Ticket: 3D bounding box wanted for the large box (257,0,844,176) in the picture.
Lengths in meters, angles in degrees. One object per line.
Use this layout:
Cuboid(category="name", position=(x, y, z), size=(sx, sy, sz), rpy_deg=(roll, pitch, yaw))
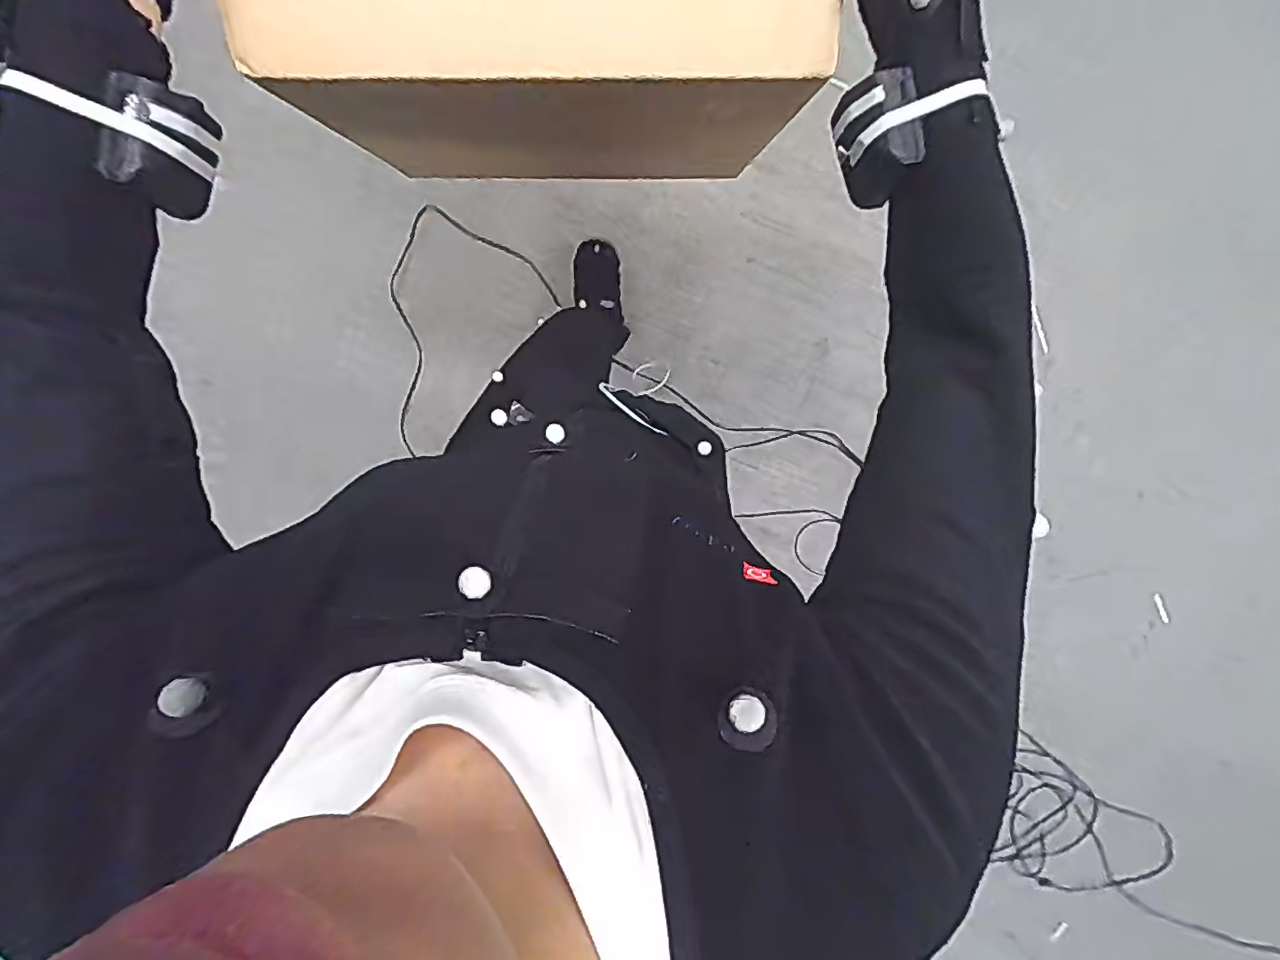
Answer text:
Cuboid(category="large box", position=(-0.068, -0.478, 0.475), size=(0.408, 0.320, 0.320), rpy_deg=(-1, 108, -4))
